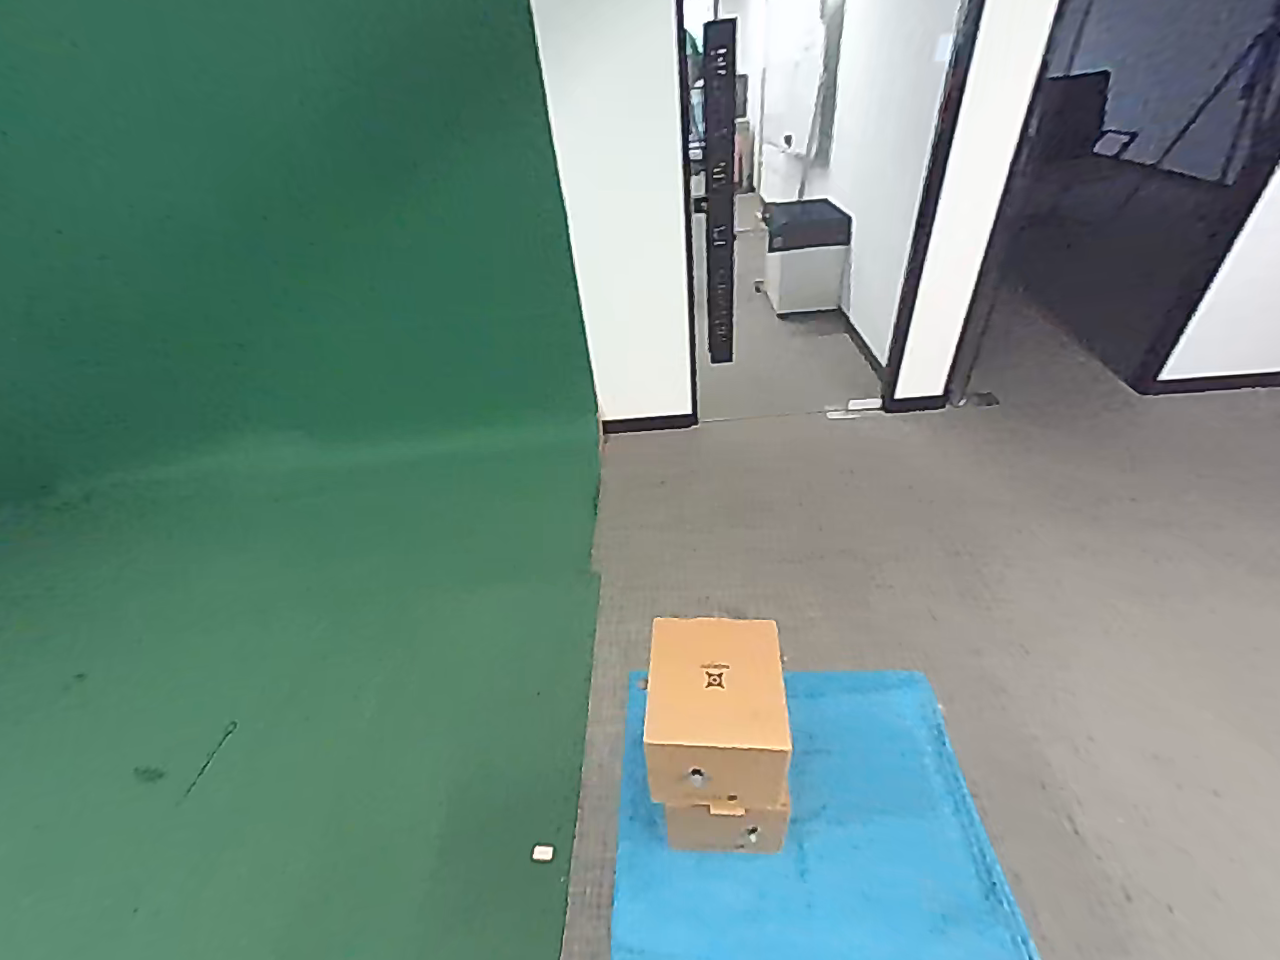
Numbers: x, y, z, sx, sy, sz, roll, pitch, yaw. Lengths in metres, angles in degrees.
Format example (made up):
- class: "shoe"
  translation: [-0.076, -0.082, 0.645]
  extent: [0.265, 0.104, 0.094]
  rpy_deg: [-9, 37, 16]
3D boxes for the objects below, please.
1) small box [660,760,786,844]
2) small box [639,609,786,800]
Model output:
- class: "small box"
  translation: [0.121, 0.418, 0.808]
  extent: [0.168, 0.176, 0.179]
  rpy_deg: [0, 39, 6]
- class: "small box"
  translation: [0.095, 0.292, 0.708]
  extent: [0.168, 0.176, 0.179]
  rpy_deg: [0, 38, 7]
